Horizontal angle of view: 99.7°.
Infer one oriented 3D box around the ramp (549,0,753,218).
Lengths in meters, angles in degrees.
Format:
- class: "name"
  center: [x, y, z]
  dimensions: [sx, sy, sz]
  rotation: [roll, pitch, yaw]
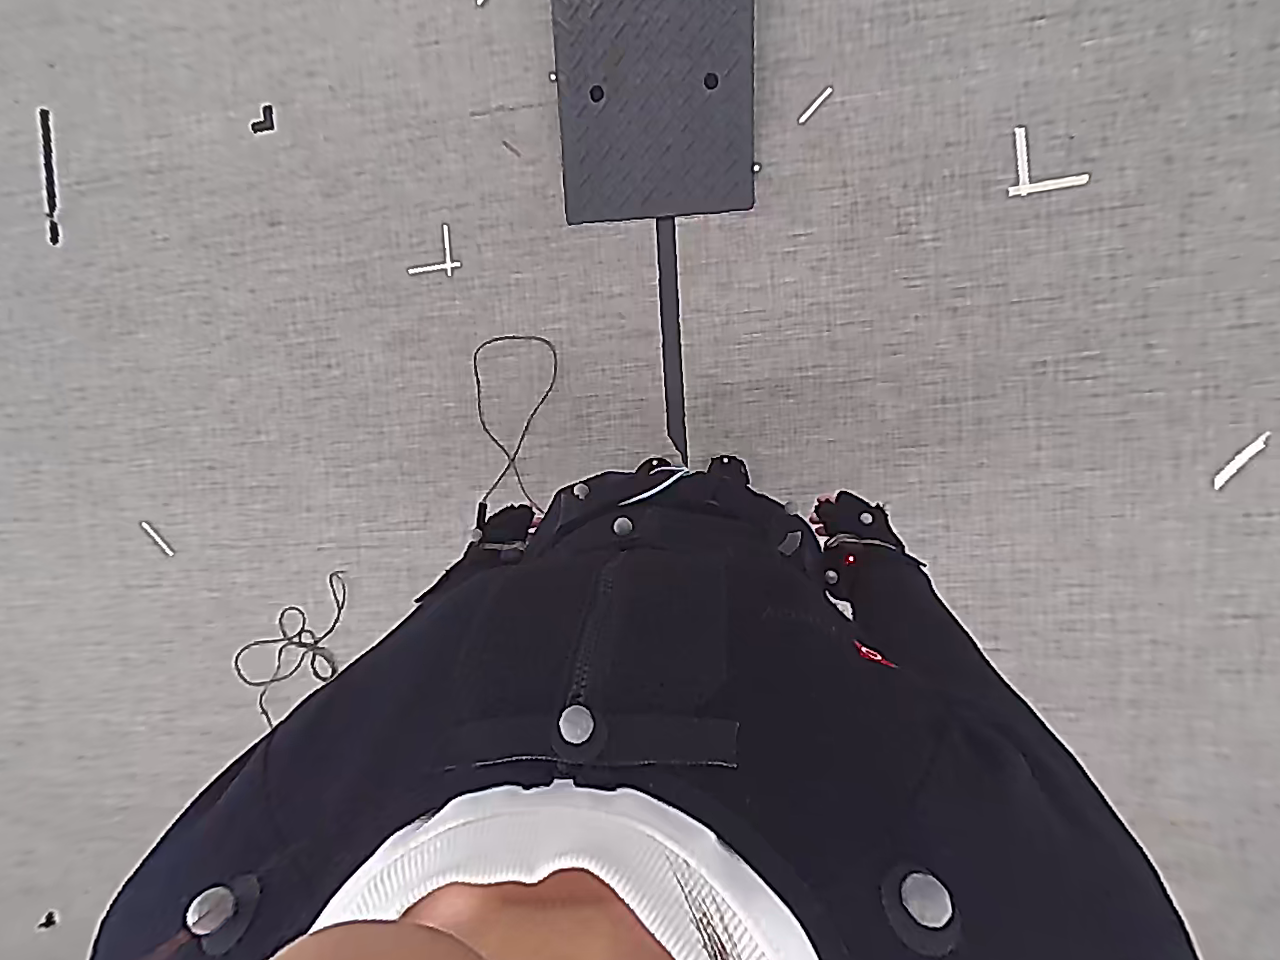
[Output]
- class: "ramp"
  center: [0.020, -1.184, 1.287]
  dimensions: [0.509, 0.206, 0.991]
  rotation: [-3, 94, 7]
